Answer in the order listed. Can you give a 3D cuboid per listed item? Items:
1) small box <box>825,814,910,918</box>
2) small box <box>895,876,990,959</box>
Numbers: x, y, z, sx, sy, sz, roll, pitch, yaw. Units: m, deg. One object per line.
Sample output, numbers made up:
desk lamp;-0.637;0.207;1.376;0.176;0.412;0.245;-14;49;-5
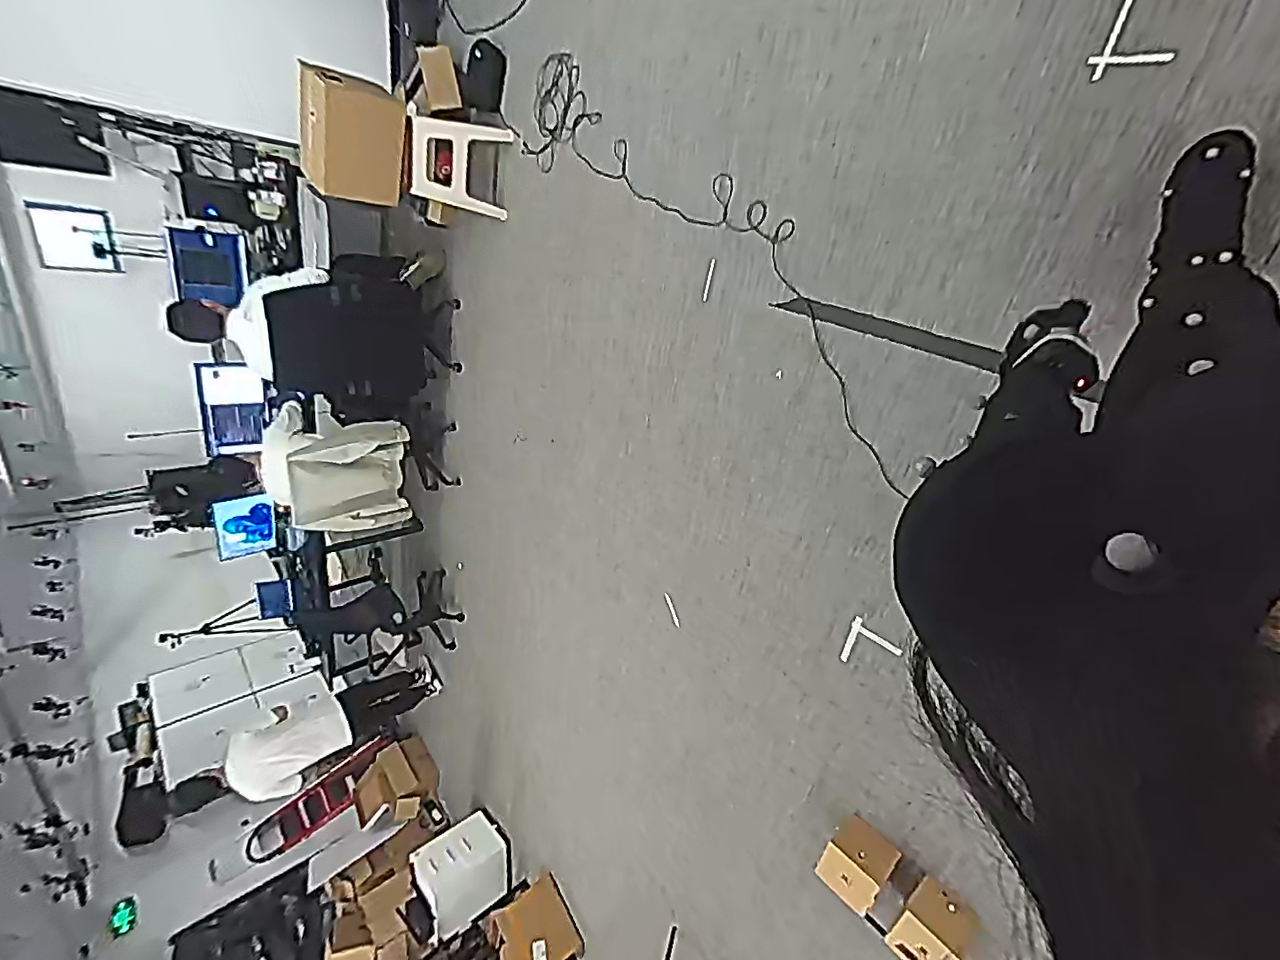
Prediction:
small box;0.737;1.238;1.747;0.179;0.176;0.168;31;120;39
small box;0.896;1.335;1.598;0.168;0.176;0.179;34;123;37
